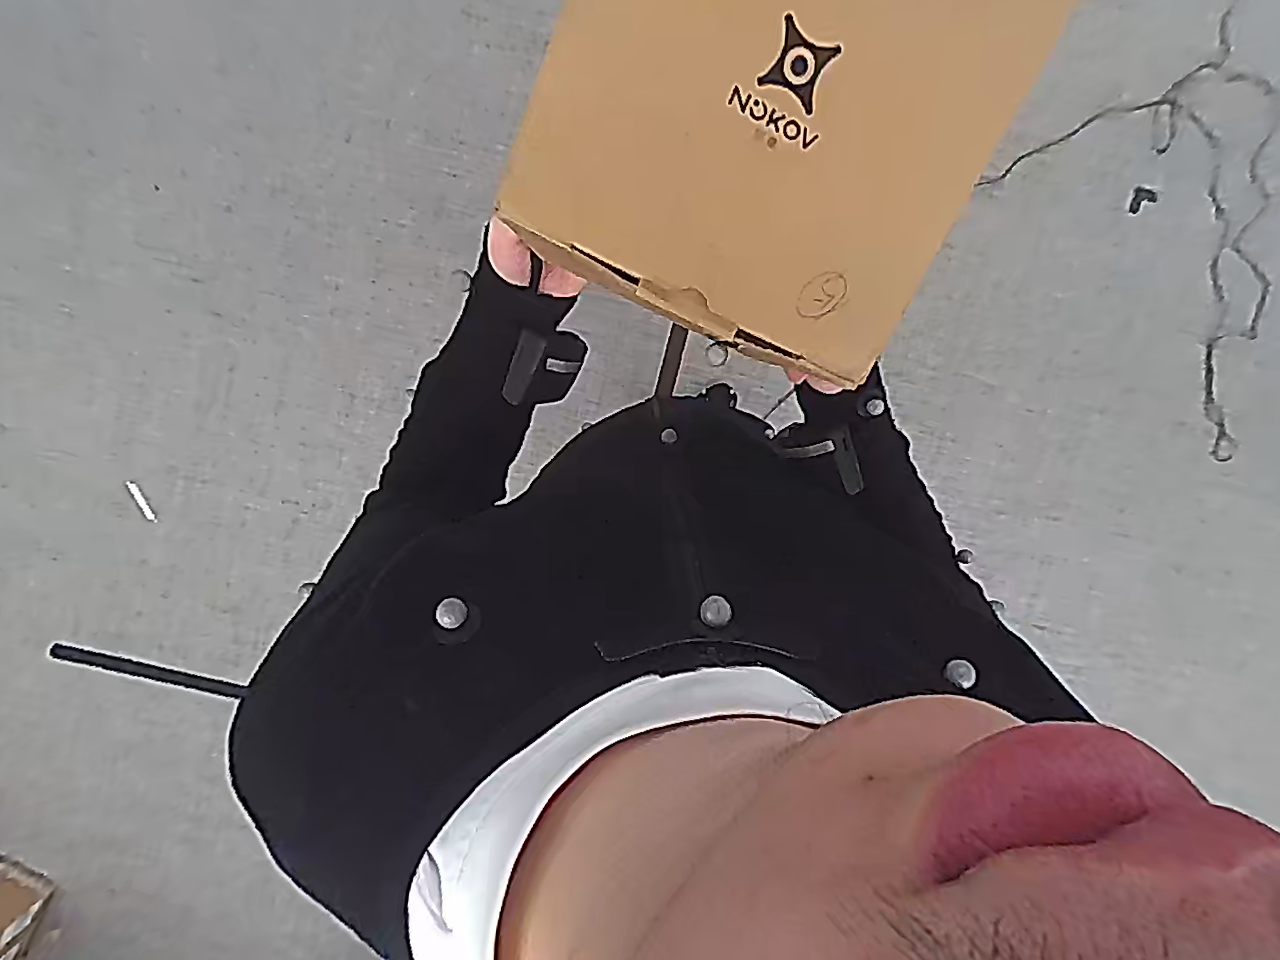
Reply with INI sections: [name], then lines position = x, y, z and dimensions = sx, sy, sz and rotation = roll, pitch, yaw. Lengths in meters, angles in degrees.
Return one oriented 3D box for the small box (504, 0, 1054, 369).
[small box]
position = 0.049, -0.177, 0.282
dimensions = 0.168, 0.176, 0.179
rotation = 22, 103, -12
